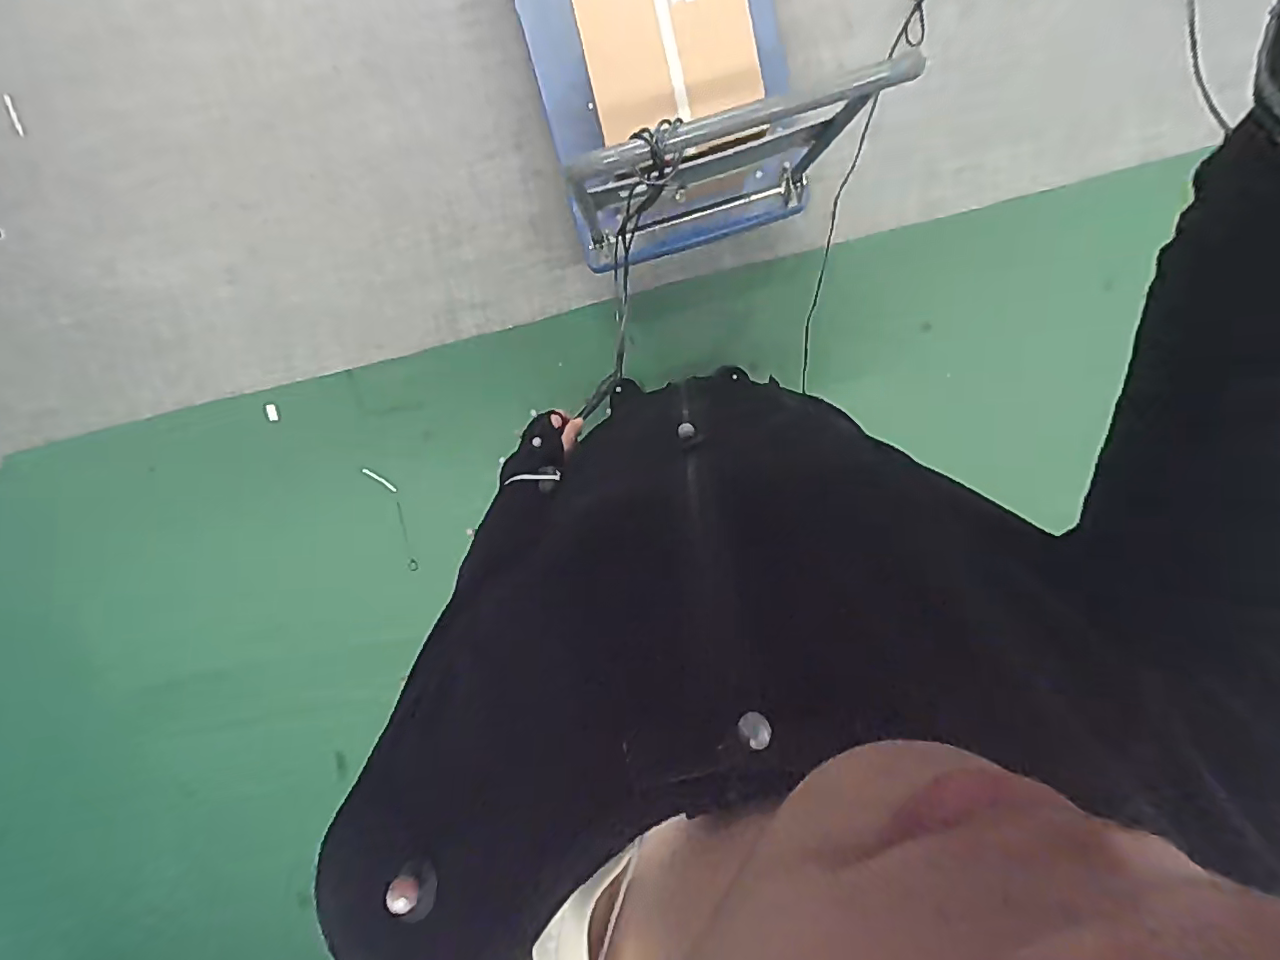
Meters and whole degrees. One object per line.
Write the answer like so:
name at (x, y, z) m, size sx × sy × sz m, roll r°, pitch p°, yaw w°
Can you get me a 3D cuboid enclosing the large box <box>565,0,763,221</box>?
large box at (0.048, -0.843, 1.164) m, size 0.320 × 0.320 × 0.408 m, roll -14°, pitch 99°, yaw 4°
